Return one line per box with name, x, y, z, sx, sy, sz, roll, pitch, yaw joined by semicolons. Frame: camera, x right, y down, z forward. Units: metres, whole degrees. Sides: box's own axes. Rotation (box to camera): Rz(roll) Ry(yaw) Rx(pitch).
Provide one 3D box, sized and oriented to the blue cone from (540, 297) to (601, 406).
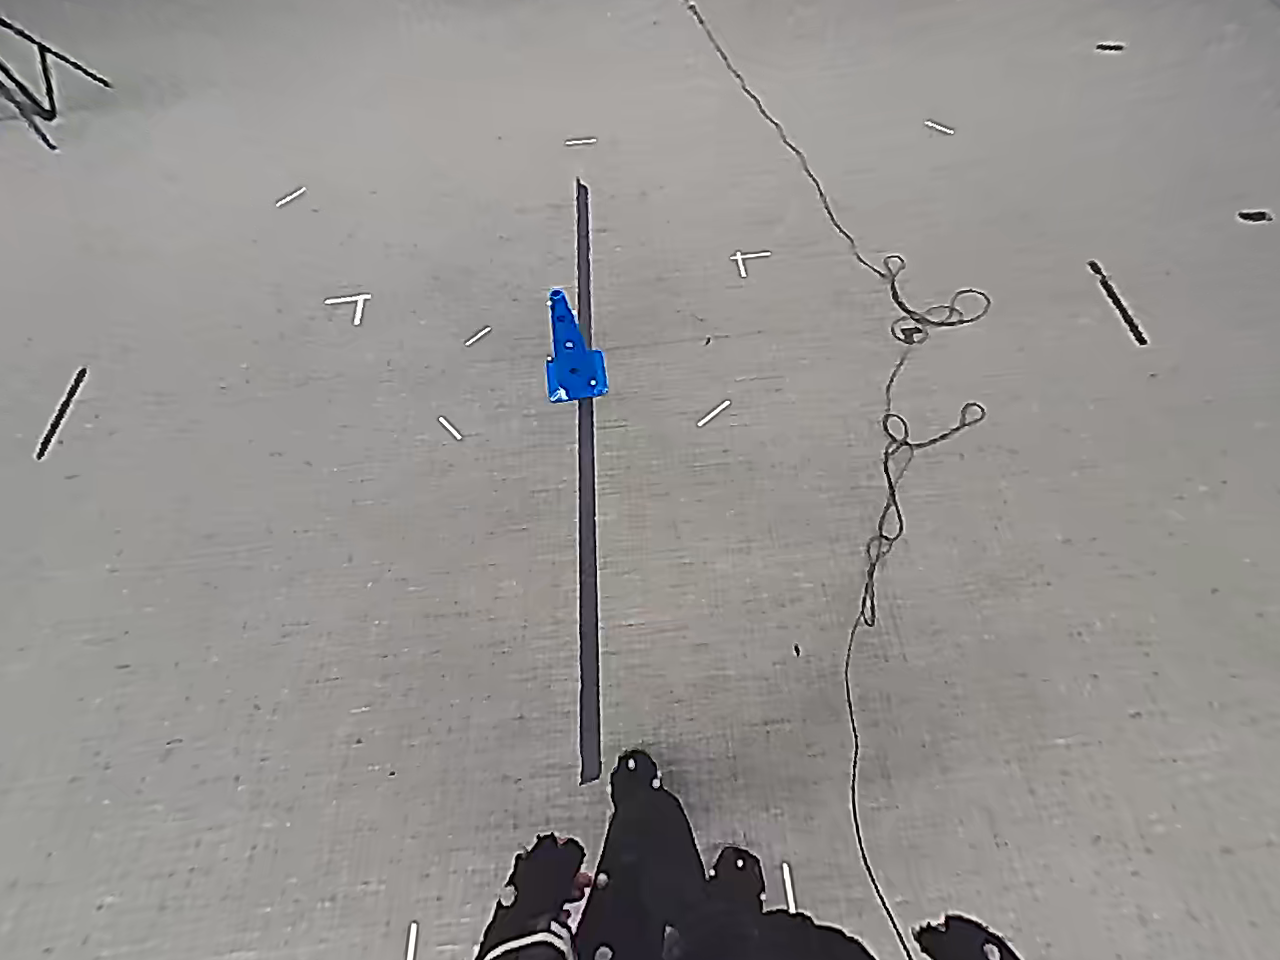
blue cone;-0.244;-0.420;1.699;0.192;0.380;0.193;-9;60;0
